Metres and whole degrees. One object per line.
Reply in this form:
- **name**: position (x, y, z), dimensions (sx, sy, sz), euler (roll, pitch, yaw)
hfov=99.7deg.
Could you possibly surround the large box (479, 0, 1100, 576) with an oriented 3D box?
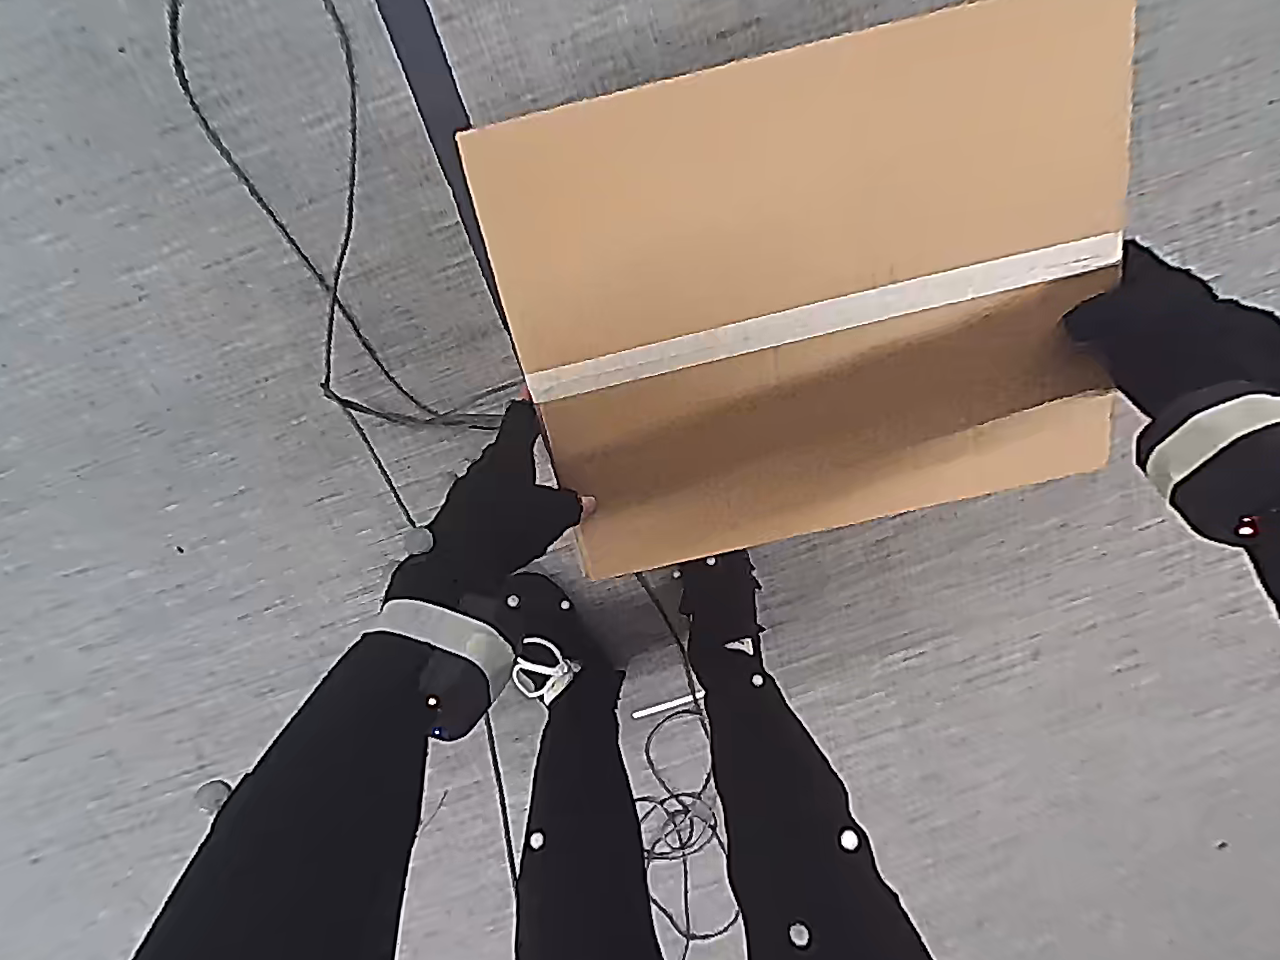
- **large box**: position (0.115, -0.152, 0.525), dimensions (0.408, 0.320, 0.320), euler (-13, 109, 2)
